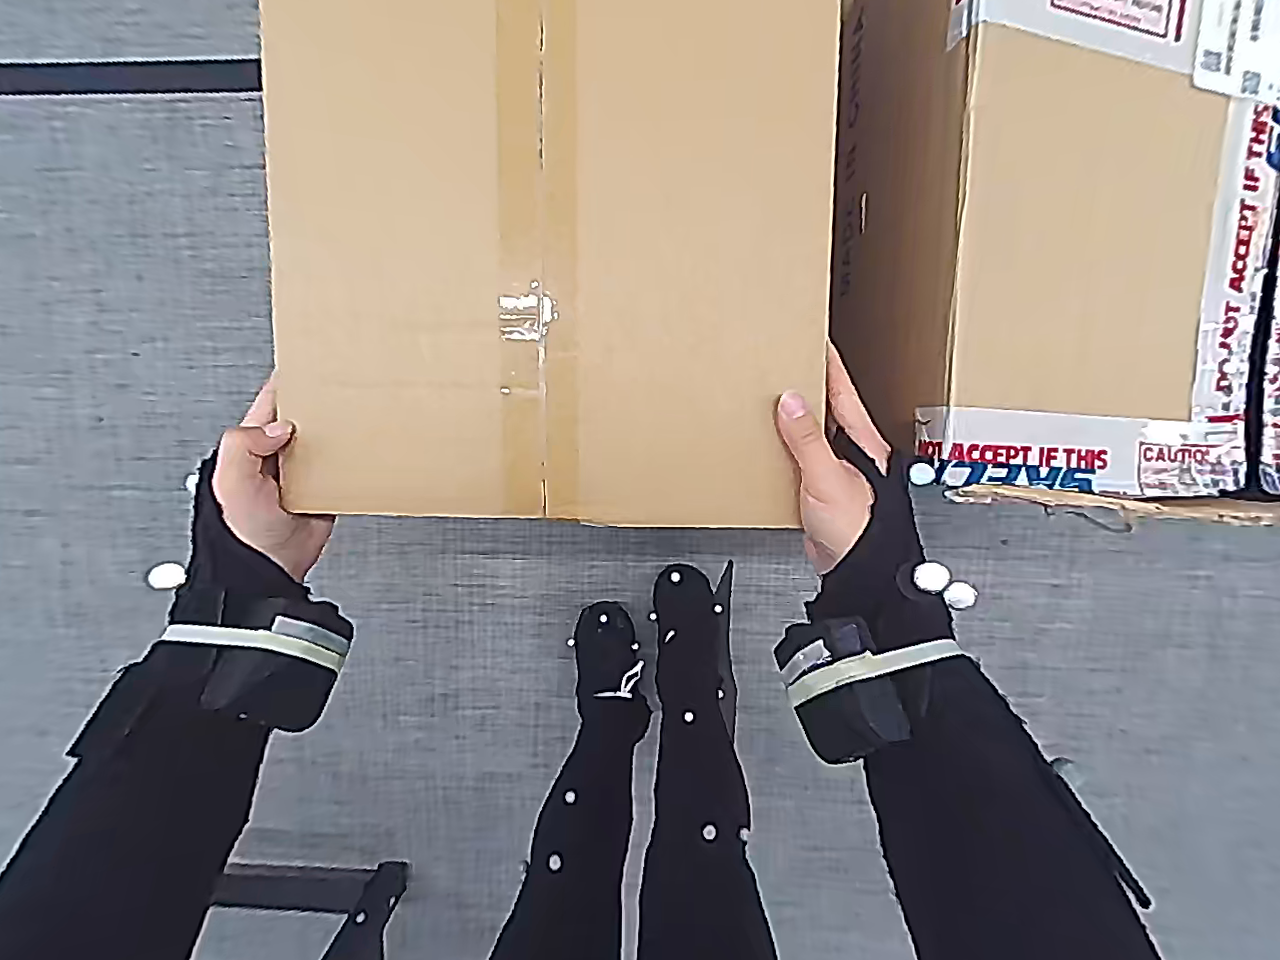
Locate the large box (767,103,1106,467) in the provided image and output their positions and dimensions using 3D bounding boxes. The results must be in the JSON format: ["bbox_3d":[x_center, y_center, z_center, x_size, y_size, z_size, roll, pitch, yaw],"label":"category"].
[{"bbox_3d":[0.365,-0.236,0.766,0.320,0.320,0.408,0,97,2],"label":"large box"}]
